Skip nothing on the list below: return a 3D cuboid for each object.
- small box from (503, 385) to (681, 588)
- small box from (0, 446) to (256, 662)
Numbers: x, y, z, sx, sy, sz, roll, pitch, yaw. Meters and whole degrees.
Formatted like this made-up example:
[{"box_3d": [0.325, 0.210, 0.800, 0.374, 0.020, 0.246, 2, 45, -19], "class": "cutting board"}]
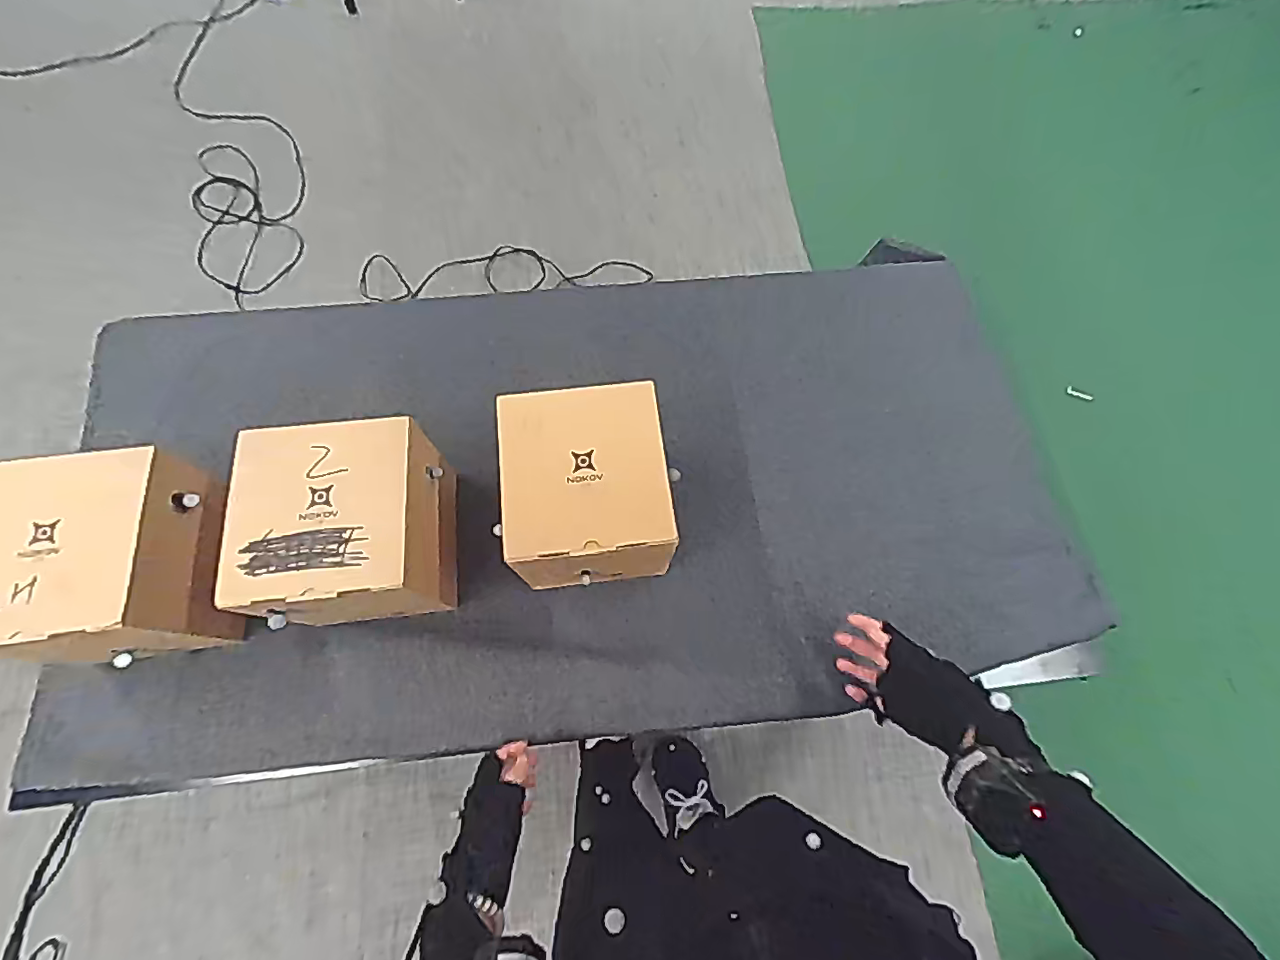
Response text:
[{"box_3d": [-0.056, 0.015, 0.610, 0.168, 0.176, 0.179, -6, 72, -5], "class": "small box"}, {"box_3d": [-0.536, 0.084, 0.559, 0.168, 0.176, 0.179, -7, 69, -6], "class": "small box"}]
